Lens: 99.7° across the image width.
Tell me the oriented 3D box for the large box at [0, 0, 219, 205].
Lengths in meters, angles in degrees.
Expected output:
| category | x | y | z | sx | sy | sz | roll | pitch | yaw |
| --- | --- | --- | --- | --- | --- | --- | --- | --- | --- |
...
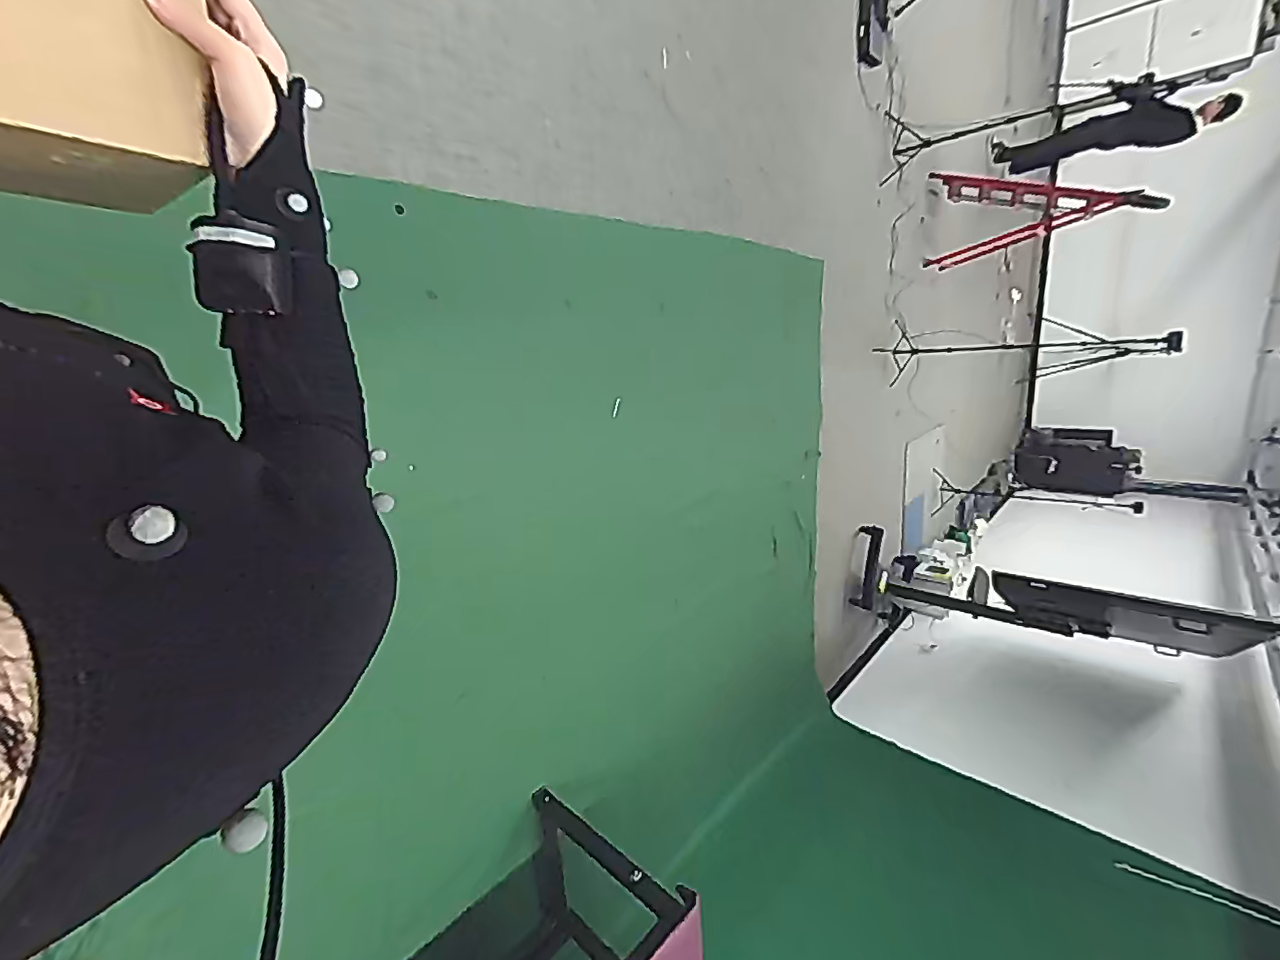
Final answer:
| category | x | y | z | sx | sy | sz | roll | pitch | yaw |
| --- | --- | --- | --- | --- | --- | --- | --- | --- | --- |
| large box | -0.546 | -0.378 | 0.308 | 0.408 | 0.320 | 0.320 | -13 | 113 | -48 |
